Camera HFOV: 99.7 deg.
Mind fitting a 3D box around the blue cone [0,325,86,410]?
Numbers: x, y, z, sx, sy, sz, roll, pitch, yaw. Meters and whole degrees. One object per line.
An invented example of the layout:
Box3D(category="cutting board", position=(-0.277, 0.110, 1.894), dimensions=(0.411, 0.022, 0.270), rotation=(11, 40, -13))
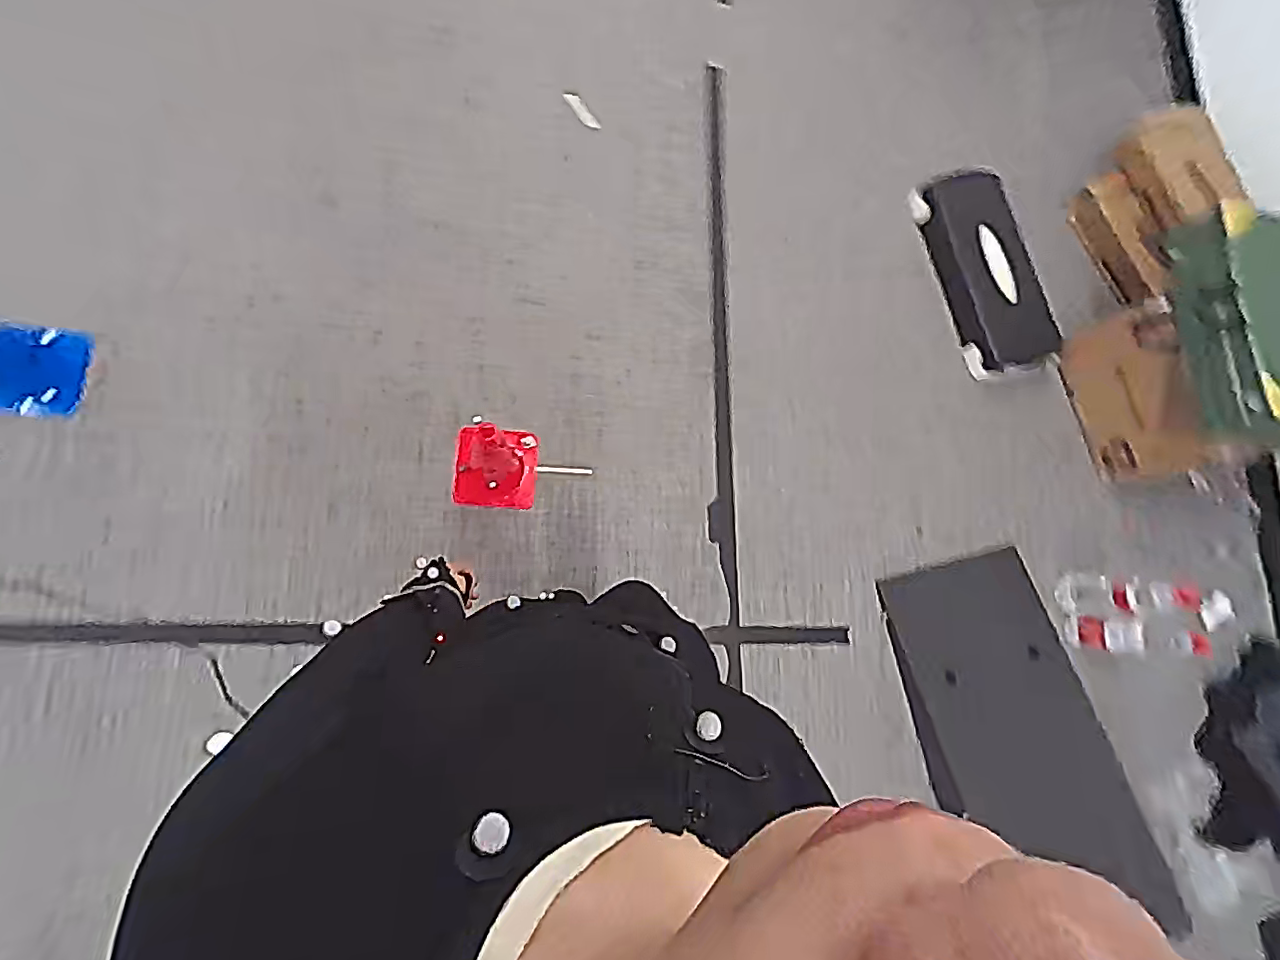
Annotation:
Box3D(category="blue cone", position=(-1.325, -0.279, 1.045), dimensions=(0.192, 0.380, 0.193), rotation=(6, 79, -10))
